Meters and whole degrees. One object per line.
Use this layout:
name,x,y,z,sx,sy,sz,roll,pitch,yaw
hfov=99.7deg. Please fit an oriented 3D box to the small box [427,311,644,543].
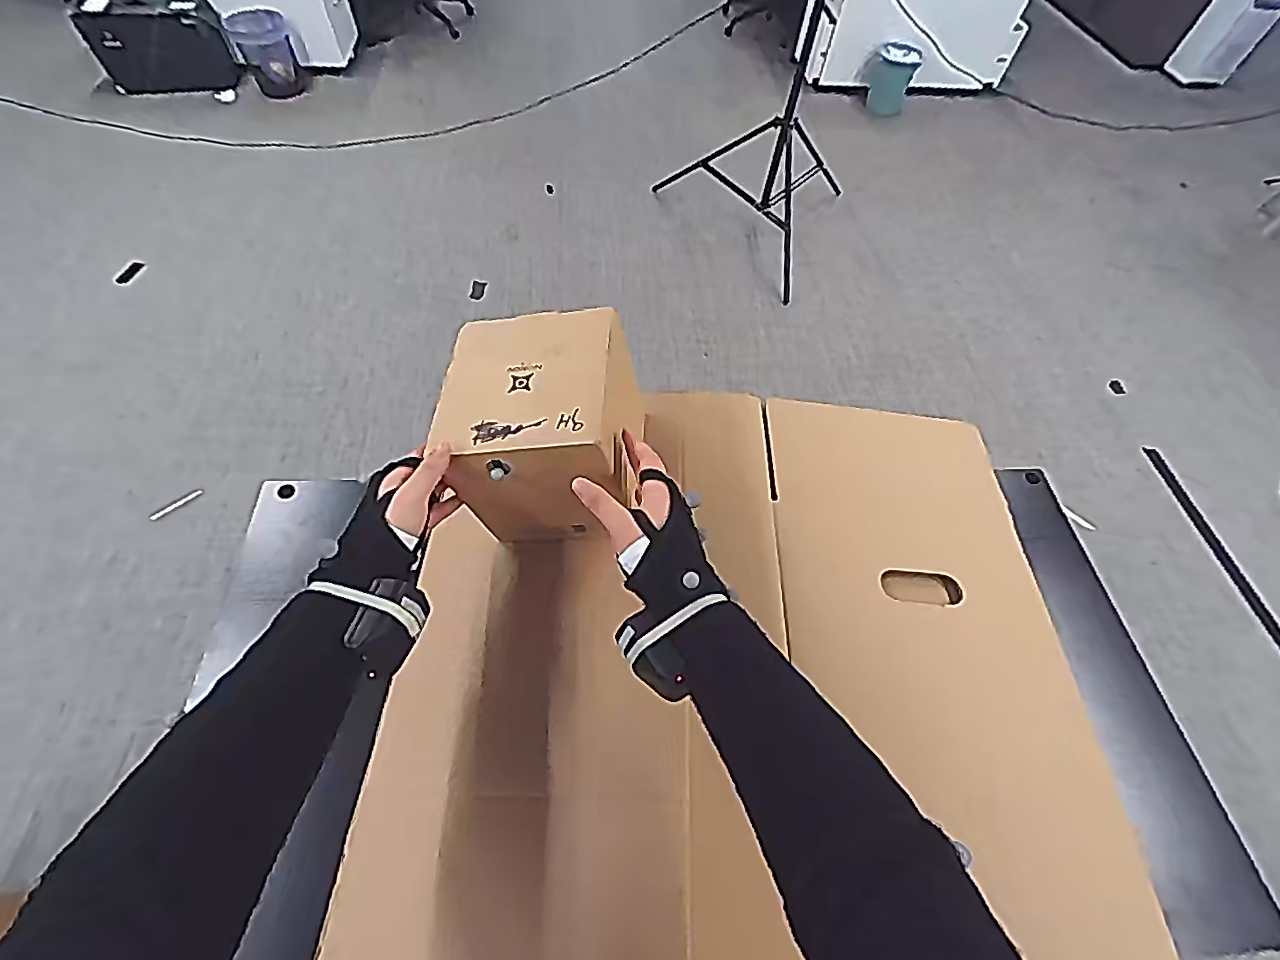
small box,-0.092,-0.050,0.578,0.168,0.176,0.179,-5,56,11

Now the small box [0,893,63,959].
small box,-1.213,0.861,0.967,0.168,0.176,0.179,-5,59,-7
